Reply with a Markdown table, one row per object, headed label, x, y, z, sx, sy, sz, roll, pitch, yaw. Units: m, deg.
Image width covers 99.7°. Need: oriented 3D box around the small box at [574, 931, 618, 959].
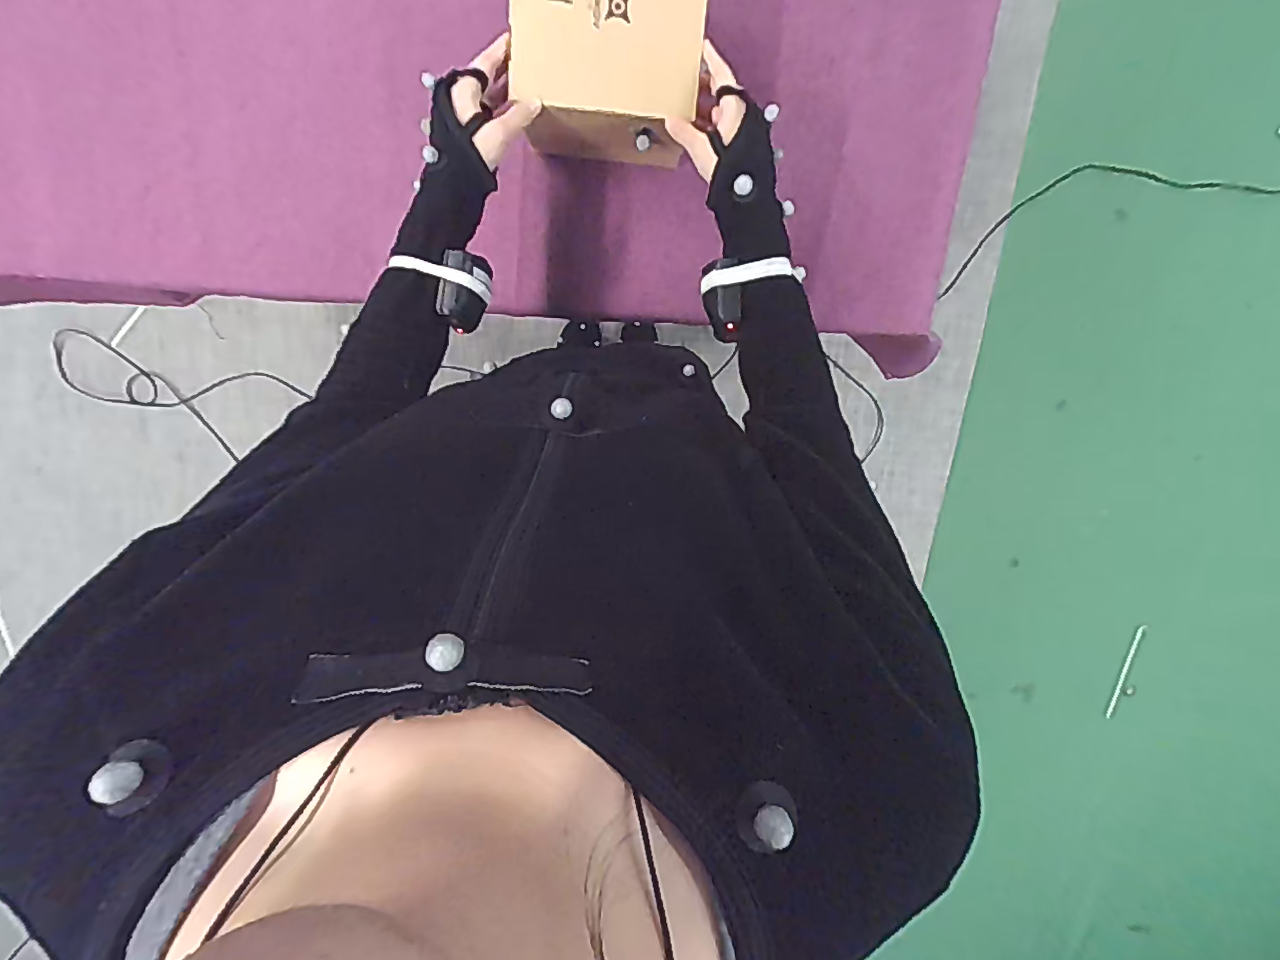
| label | x | y | z | sx | sy | sz | roll | pitch | yaw |
| --- | --- | --- | --- | --- | --- | --- | --- | --- | --- |
| small box | -0.168 | 1.848 | 2.029 | 0.168 | 0.176 | 0.179 | 3 | 106 | -4 |
